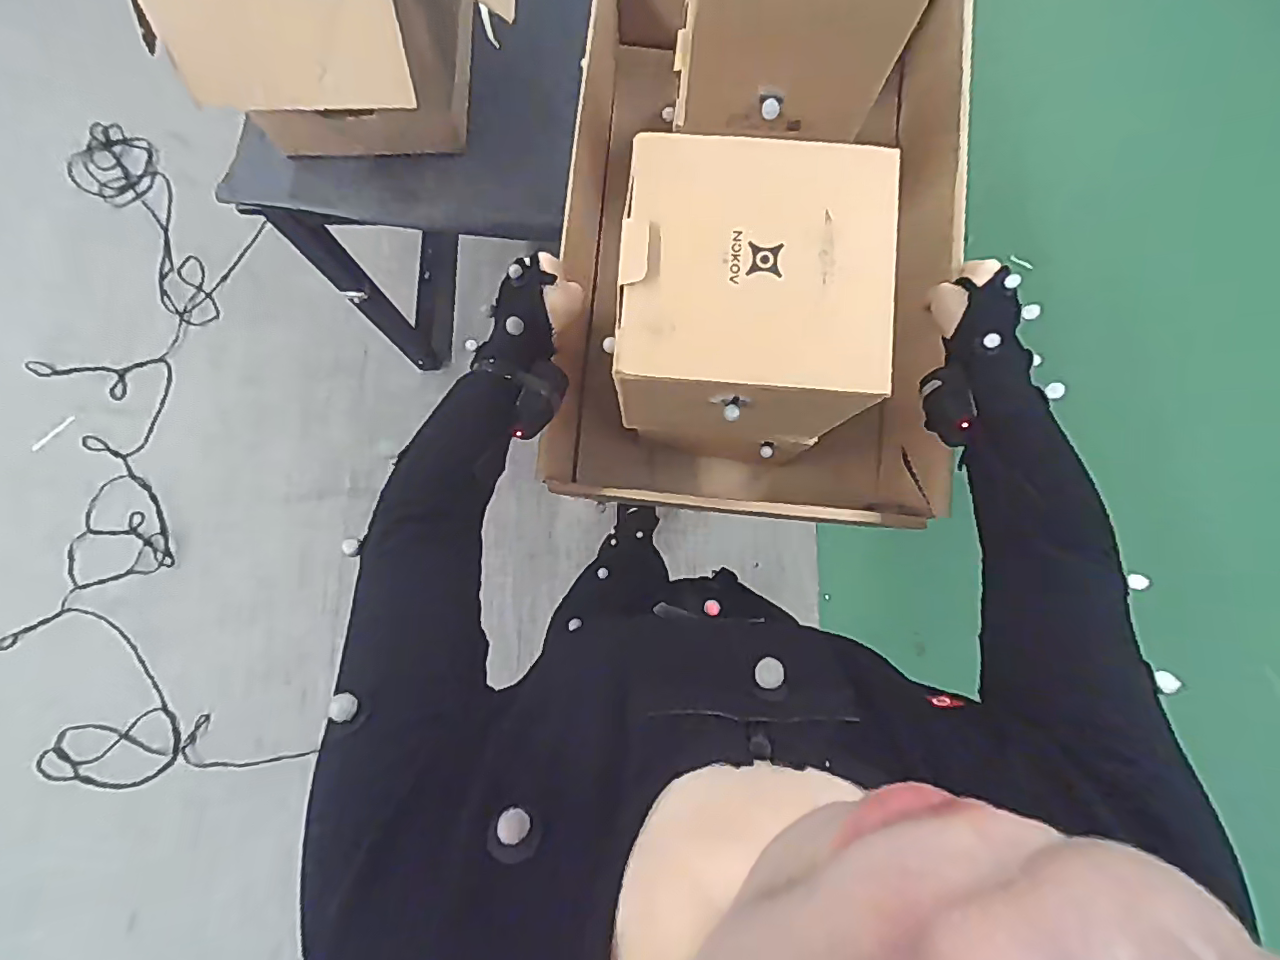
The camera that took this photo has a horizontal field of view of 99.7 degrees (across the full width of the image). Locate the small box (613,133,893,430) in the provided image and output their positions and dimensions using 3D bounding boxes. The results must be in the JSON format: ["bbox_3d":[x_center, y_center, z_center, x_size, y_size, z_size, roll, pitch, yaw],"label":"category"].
[{"bbox_3d":[0.076,-0.138,0.433,0.179,0.176,0.168,4,86,0],"label":"small box"}]

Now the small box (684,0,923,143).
[{"bbox_3d":[0.128,-0.425,0.451,0.168,0.176,0.179,5,88,2],"label":"small box"}]
